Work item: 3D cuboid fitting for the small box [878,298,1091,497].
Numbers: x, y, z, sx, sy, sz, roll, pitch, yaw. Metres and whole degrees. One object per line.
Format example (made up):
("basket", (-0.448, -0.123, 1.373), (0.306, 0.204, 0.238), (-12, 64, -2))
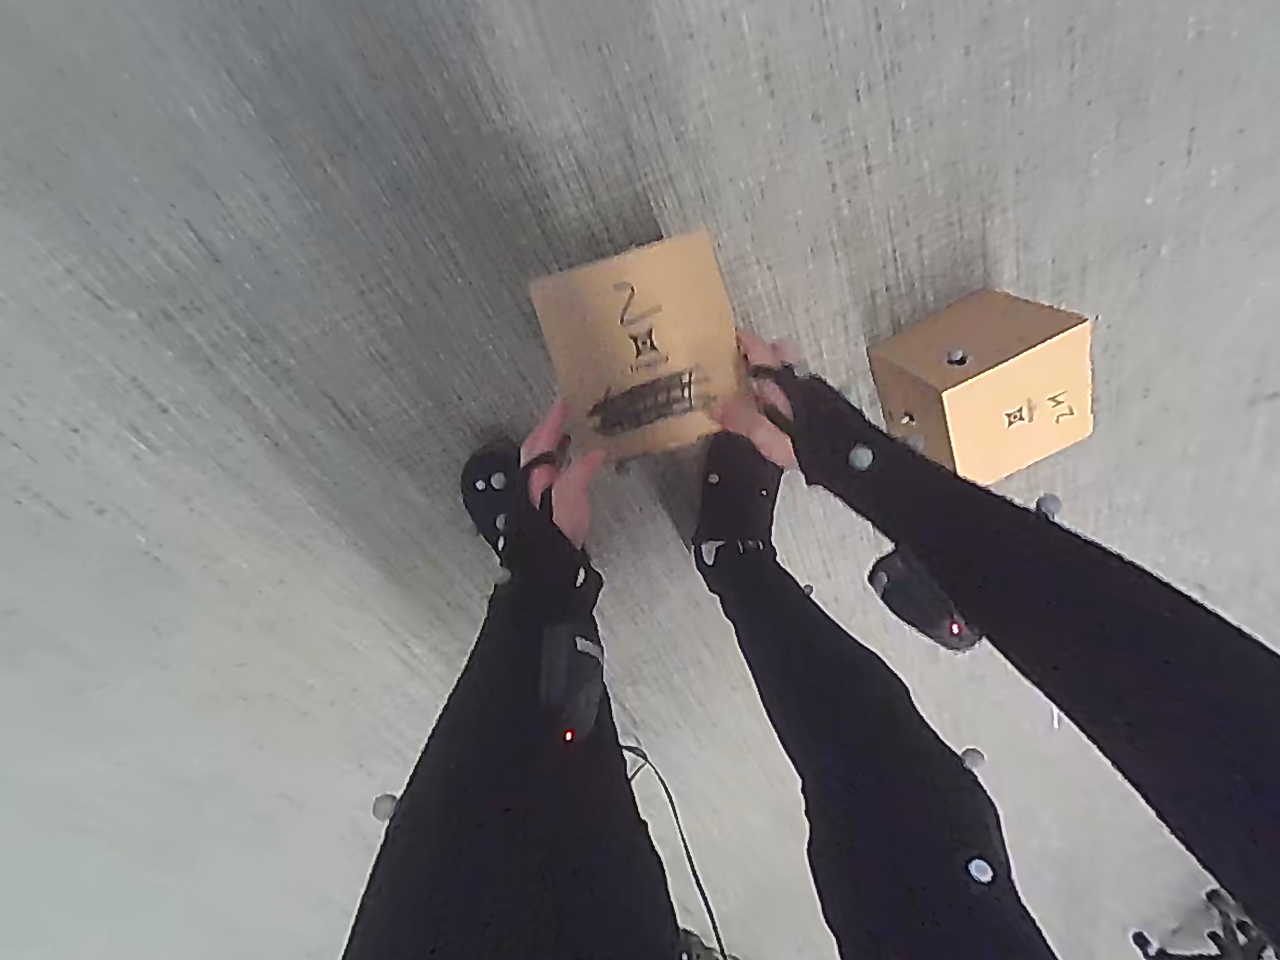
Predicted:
("small box", (0.439, -0.114, 0.712), (0.179, 0.176, 0.168), (-27, 121, 7))
